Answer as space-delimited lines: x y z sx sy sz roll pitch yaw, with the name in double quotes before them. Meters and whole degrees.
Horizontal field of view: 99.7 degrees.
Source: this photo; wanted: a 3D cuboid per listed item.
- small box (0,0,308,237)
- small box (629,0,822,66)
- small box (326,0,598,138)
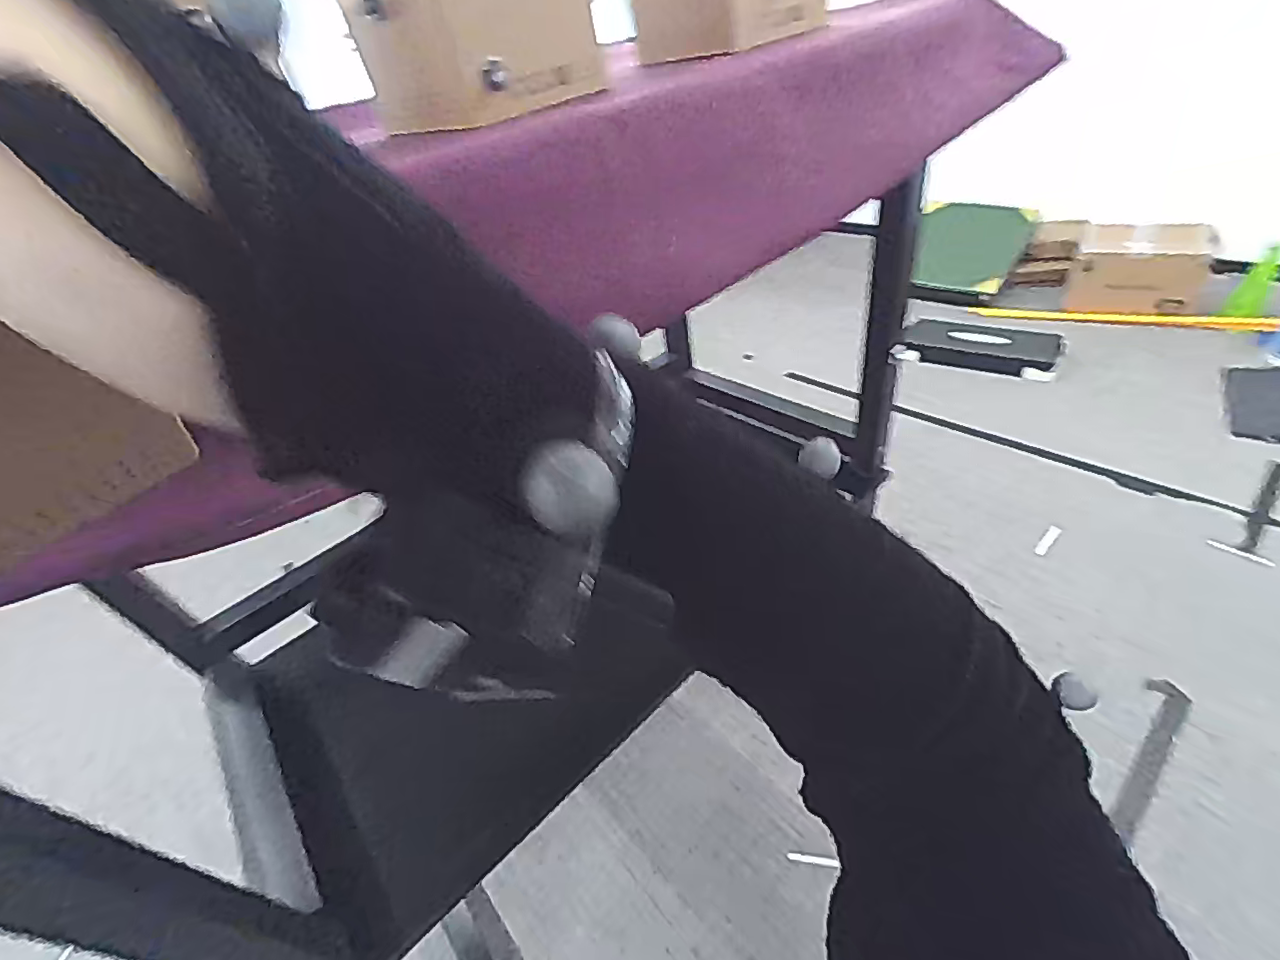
"small box" -0.374 -0.291 0.384 0.168 0.176 0.179 27 53 38
"small box" 0.091 -0.597 0.622 0.168 0.176 0.179 -34 43 -23
"small box" -0.162 -0.428 0.490 0.179 0.176 0.168 25 52 38
